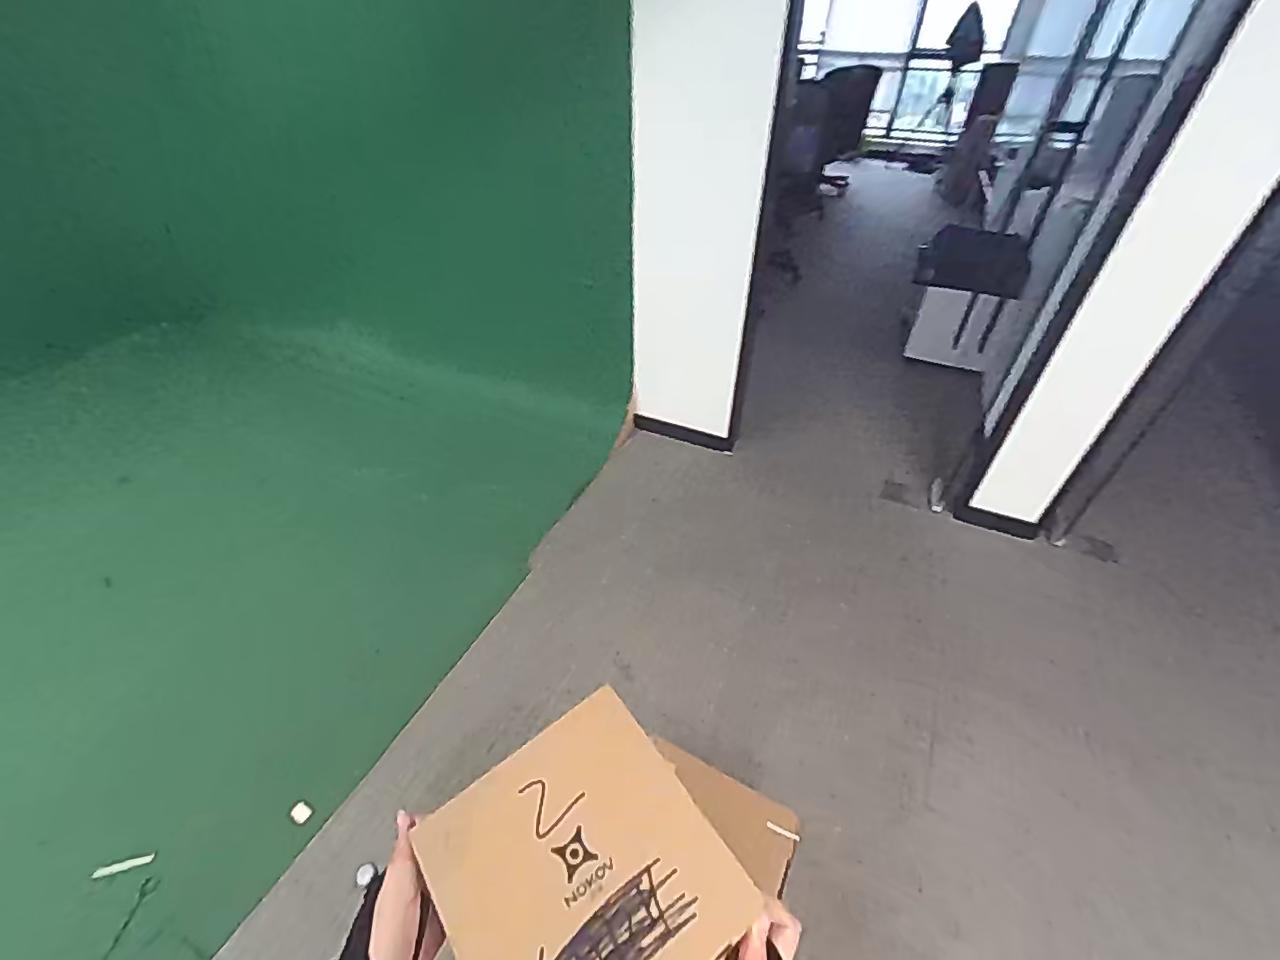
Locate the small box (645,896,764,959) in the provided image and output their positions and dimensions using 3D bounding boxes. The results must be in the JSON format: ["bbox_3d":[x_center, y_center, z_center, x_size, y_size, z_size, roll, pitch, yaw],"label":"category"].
[{"bbox_3d":[0.075,0.786,0.810,0.168,0.176,0.179,22,43,23],"label":"small box"}]

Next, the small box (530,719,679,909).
[{"bbox_3d":[-0.052,0.530,0.862,0.168,0.176,0.179,21,45,22],"label":"small box"}]

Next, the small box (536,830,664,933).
[{"bbox_3d":[-0.061,0.656,0.966,0.168,0.176,0.179,21,43,22],"label":"small box"}]
